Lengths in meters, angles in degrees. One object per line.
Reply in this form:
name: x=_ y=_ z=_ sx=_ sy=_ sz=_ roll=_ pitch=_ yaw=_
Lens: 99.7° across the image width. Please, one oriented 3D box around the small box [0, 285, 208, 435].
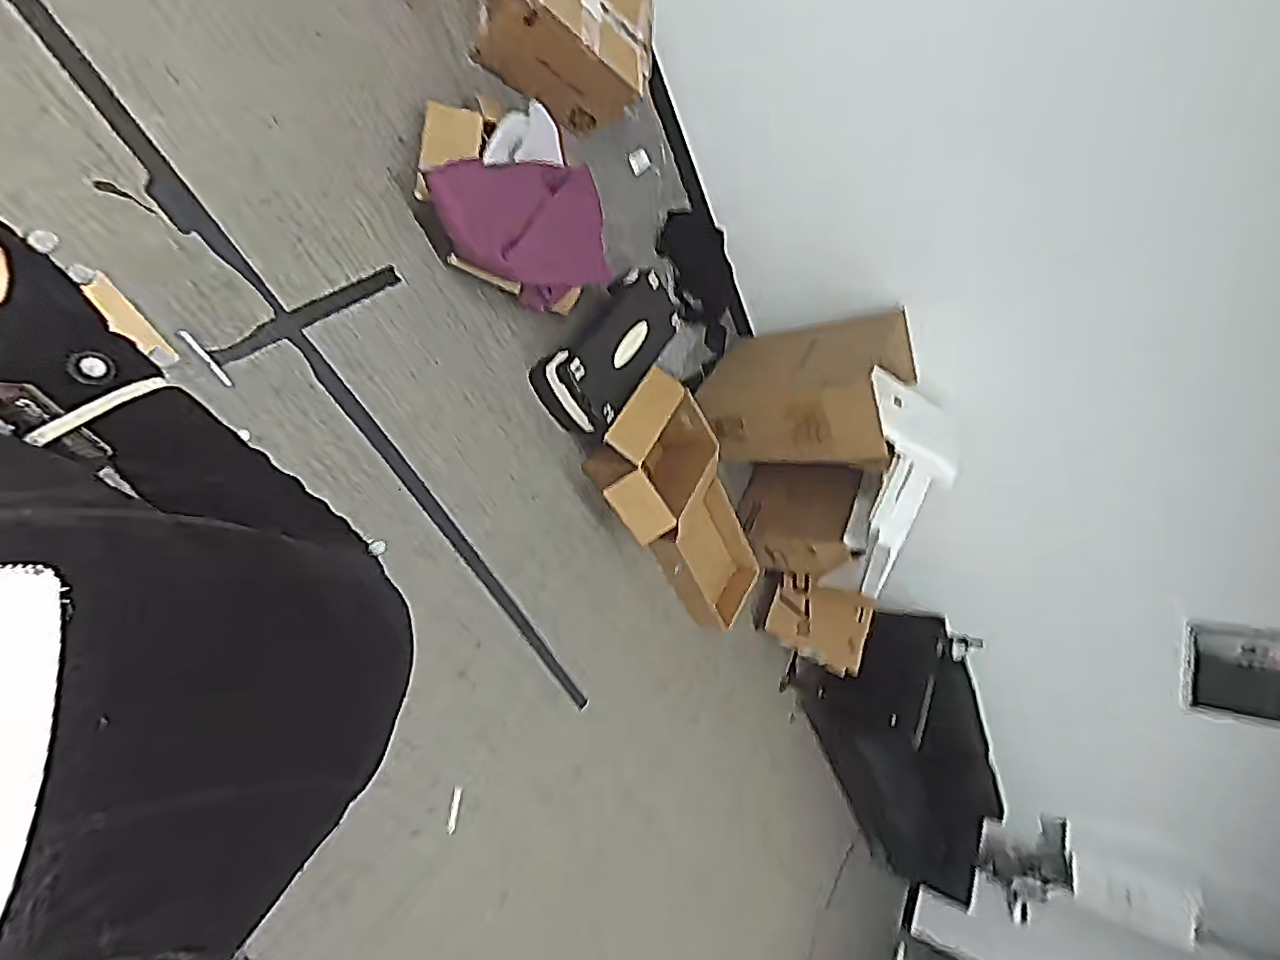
small box: x=-0.860 y=-0.187 z=0.871 sx=0.179 sy=0.176 sz=0.168 roll=-50 pitch=124 yaw=-36
